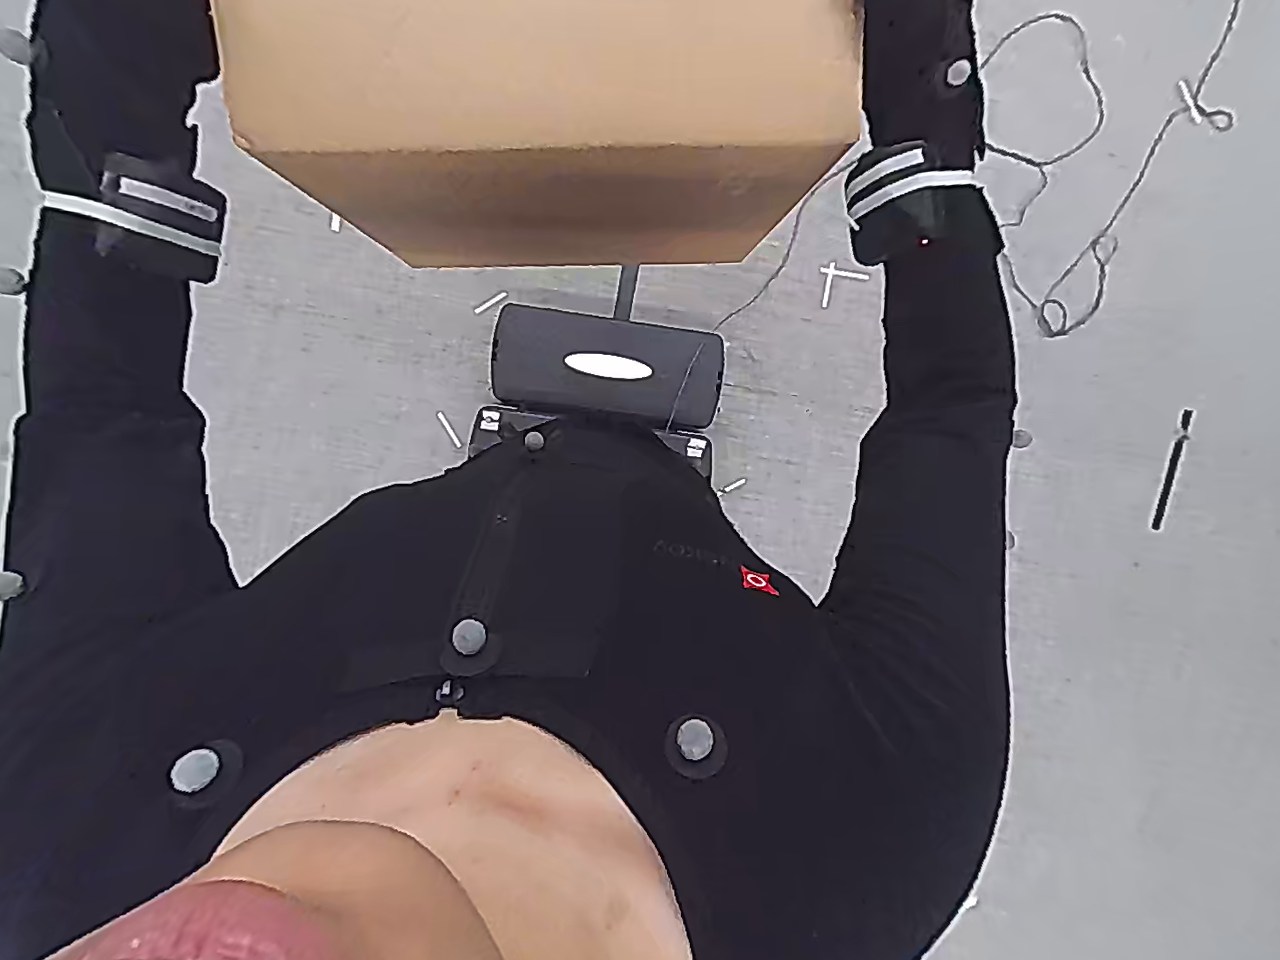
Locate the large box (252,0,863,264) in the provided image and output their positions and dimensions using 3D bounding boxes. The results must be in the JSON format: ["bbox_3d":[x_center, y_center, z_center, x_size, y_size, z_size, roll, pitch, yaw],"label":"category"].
[{"bbox_3d":[-0.062,-0.400,0.490,0.408,0.320,0.320,-3,99,-4],"label":"large box"}]

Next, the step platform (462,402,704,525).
[{"bbox_3d":[-0.157,-0.047,1.567,0.684,0.204,0.286,7,95,-2],"label":"step platform"}]
